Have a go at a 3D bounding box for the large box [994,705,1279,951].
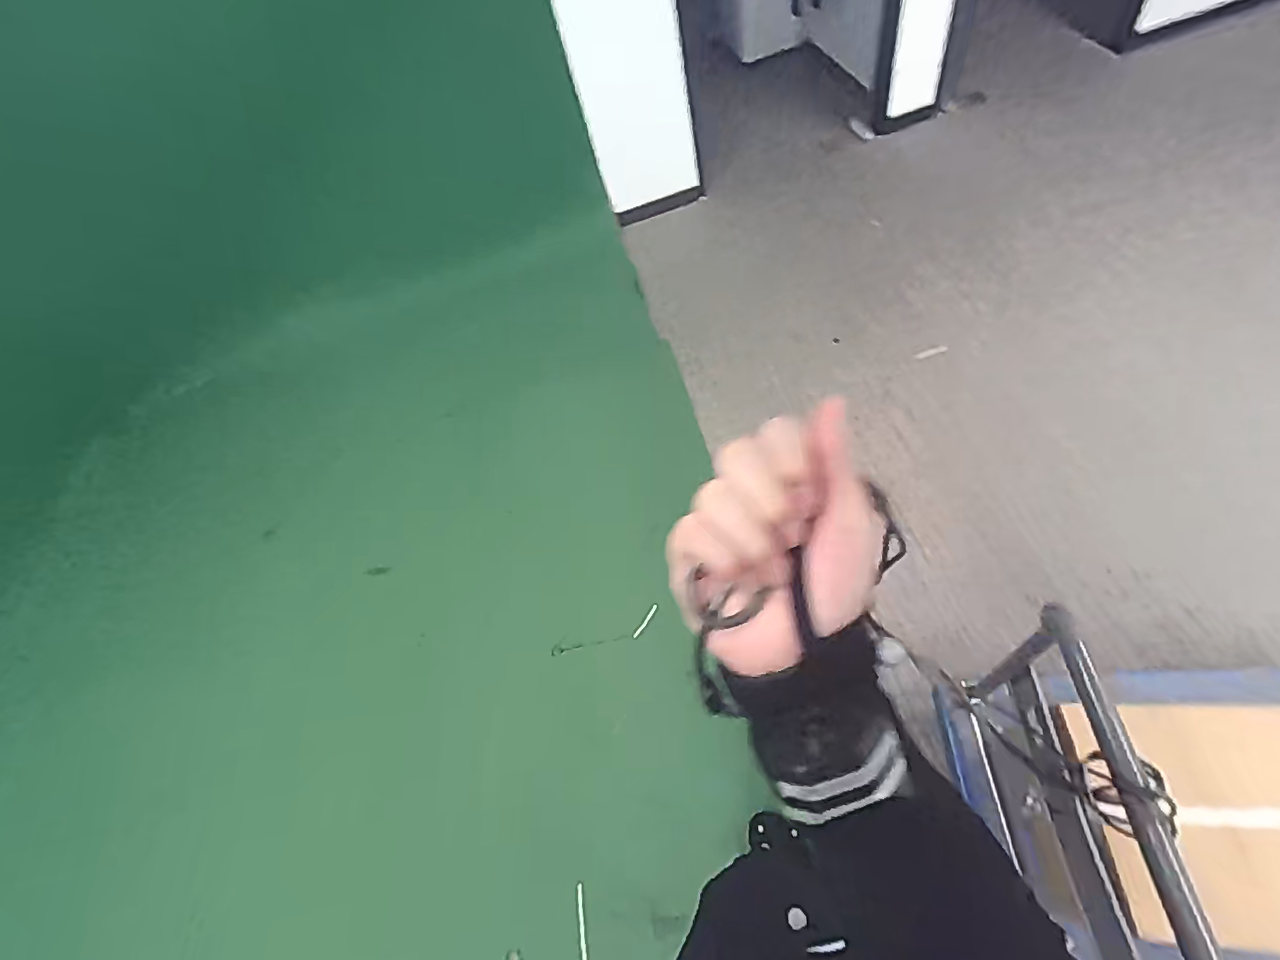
[{"bbox_3d":[0.918,0.585,0.928,0.408,0.320,0.320,-4,56,12],"label":"large box"}]
